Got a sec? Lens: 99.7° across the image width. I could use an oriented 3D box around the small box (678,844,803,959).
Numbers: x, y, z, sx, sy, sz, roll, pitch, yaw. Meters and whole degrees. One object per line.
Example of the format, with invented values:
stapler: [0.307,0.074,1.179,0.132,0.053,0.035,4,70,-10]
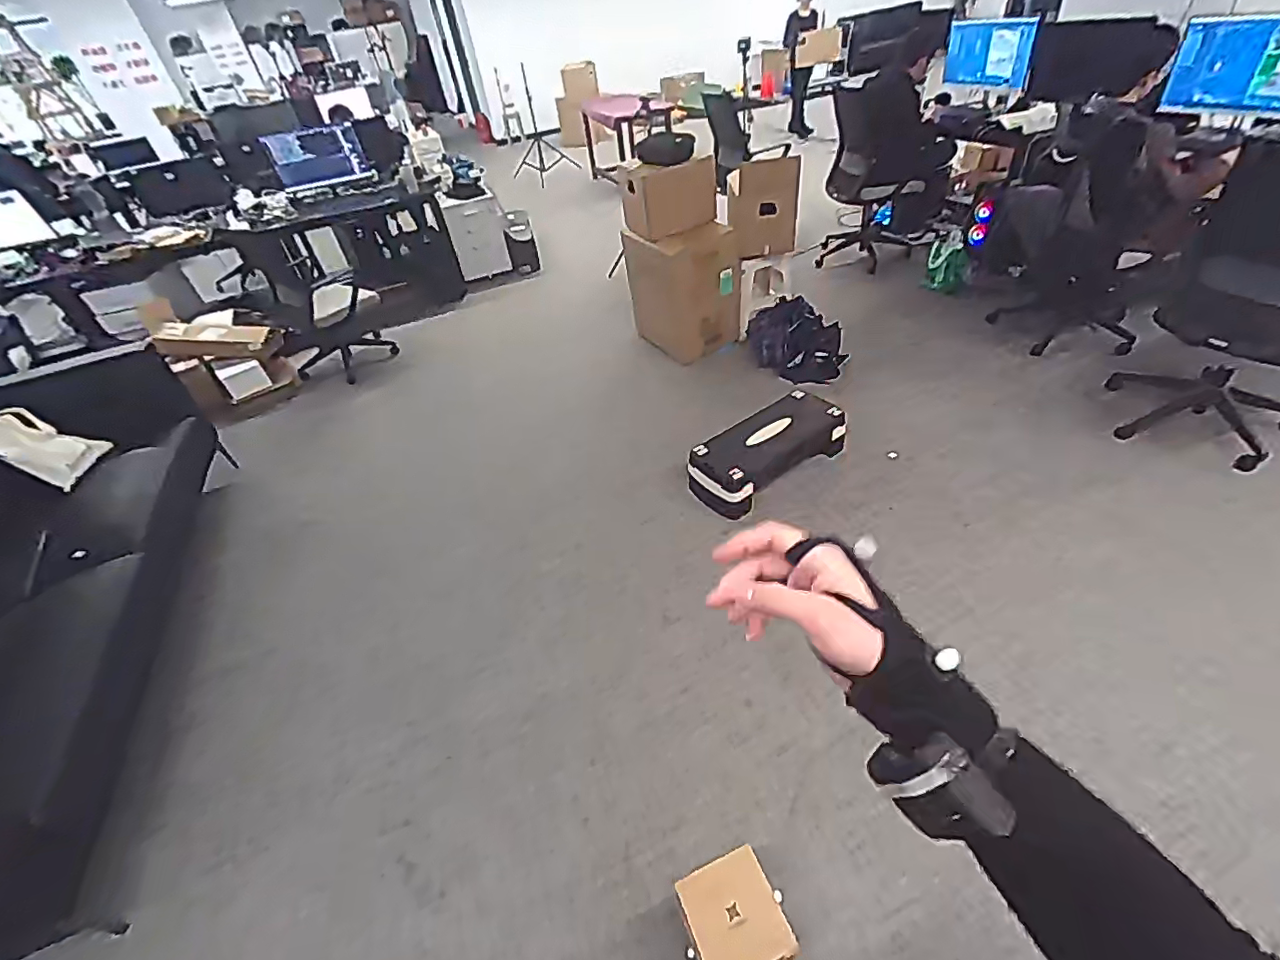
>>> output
small box: [0.187,0.841,1.023,0.168,0.176,0.179,-21,42,-13]
